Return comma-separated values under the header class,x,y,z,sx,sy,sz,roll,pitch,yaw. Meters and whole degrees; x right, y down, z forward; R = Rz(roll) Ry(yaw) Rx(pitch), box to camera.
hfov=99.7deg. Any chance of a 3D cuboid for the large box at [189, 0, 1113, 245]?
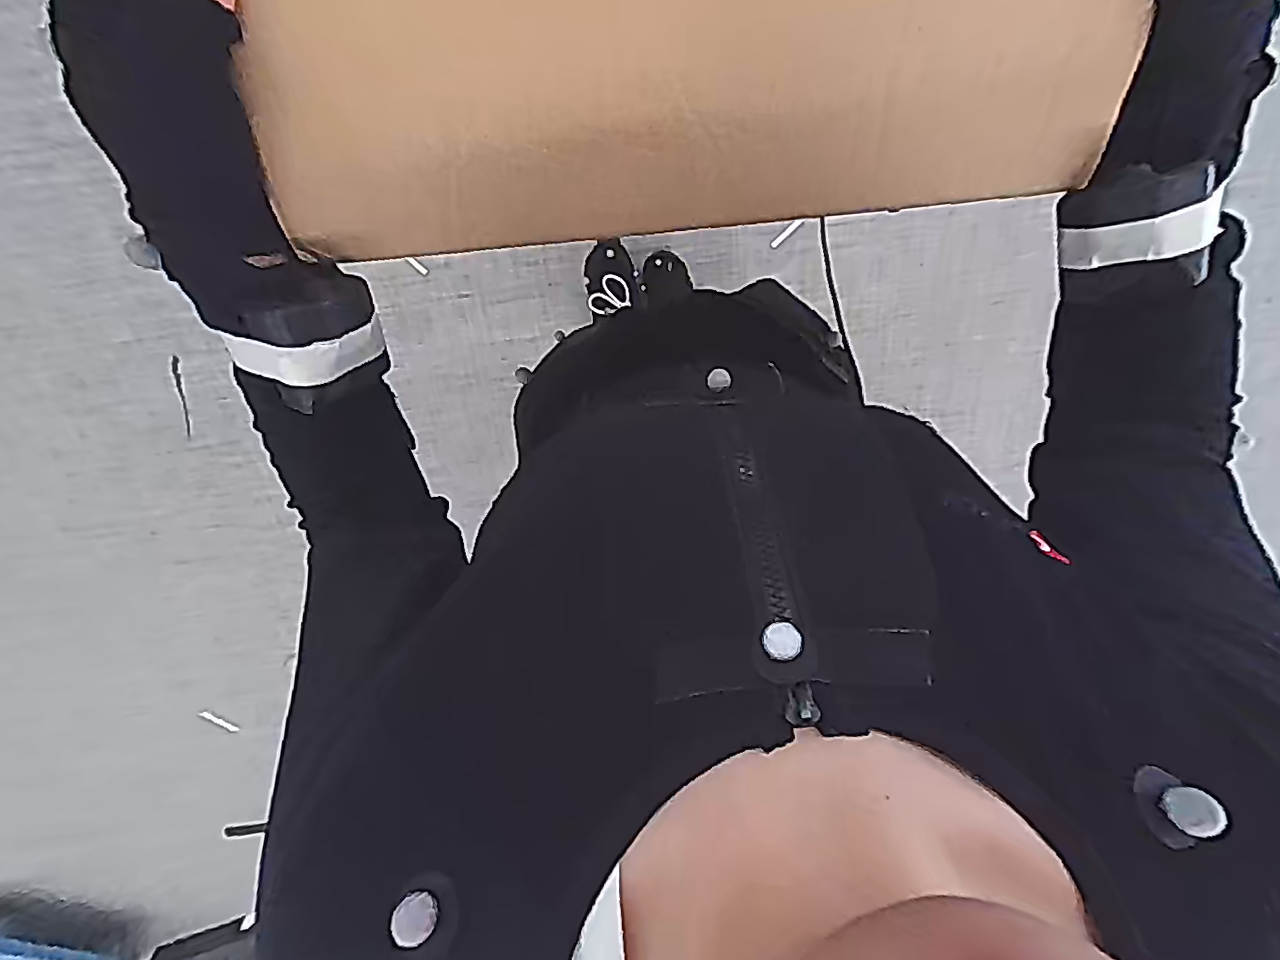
class,x,y,z,sx,sy,sz,roll,pitch,yaw
large box,0.000,-0.356,0.297,0.408,0.320,0.320,-6,130,-1
